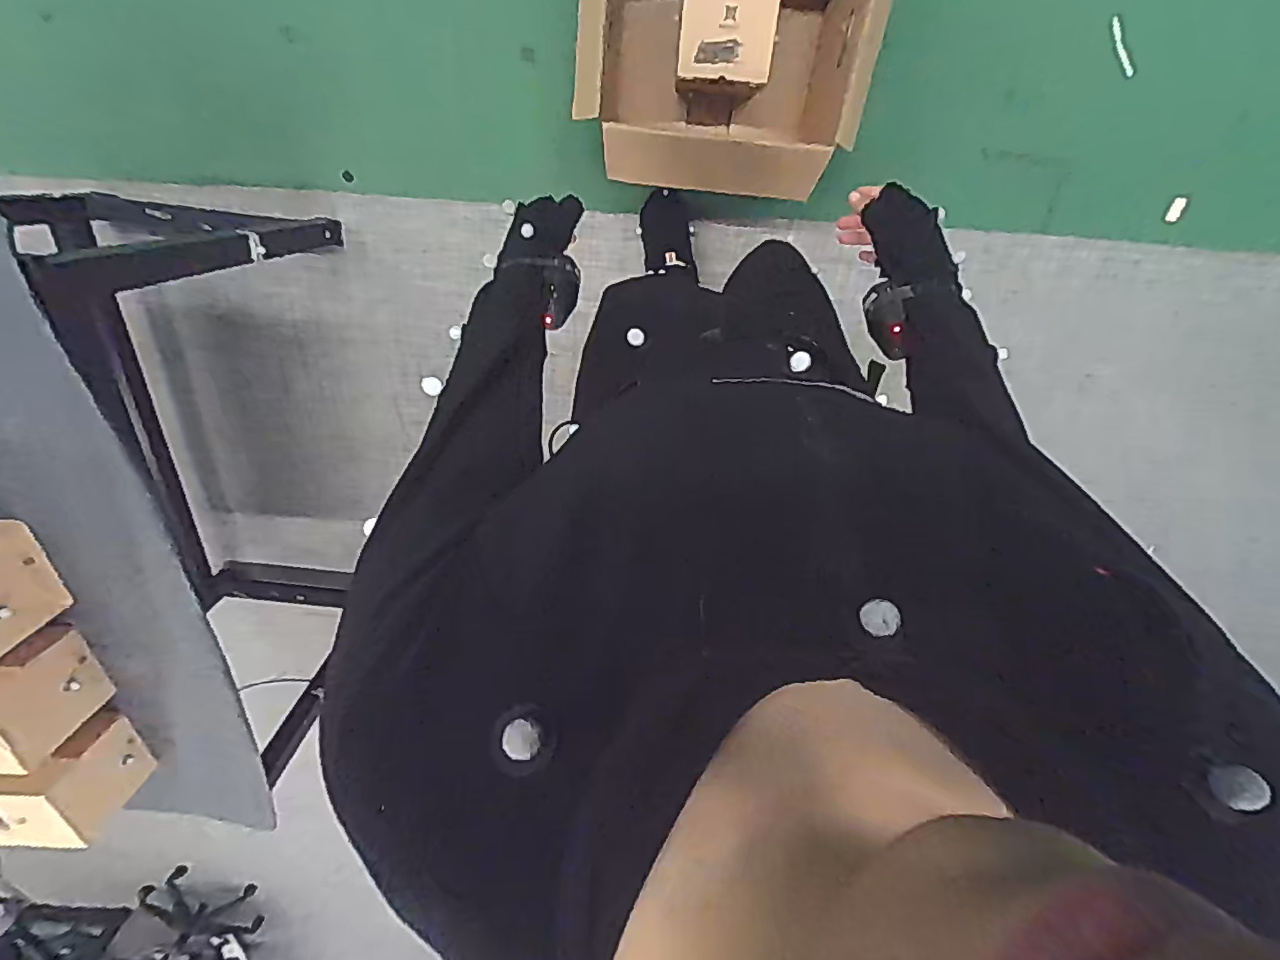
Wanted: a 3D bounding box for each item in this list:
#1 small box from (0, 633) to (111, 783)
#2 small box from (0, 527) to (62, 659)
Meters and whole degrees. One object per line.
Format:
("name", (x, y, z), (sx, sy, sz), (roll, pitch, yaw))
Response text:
("small box", (-1.065, 0.370, 0.900), (0.179, 0.176, 0.168), (3, 119, 1))
("small box", (-1.026, 0.176, 0.794), (0.179, 0.176, 0.168), (3, 119, 1))
